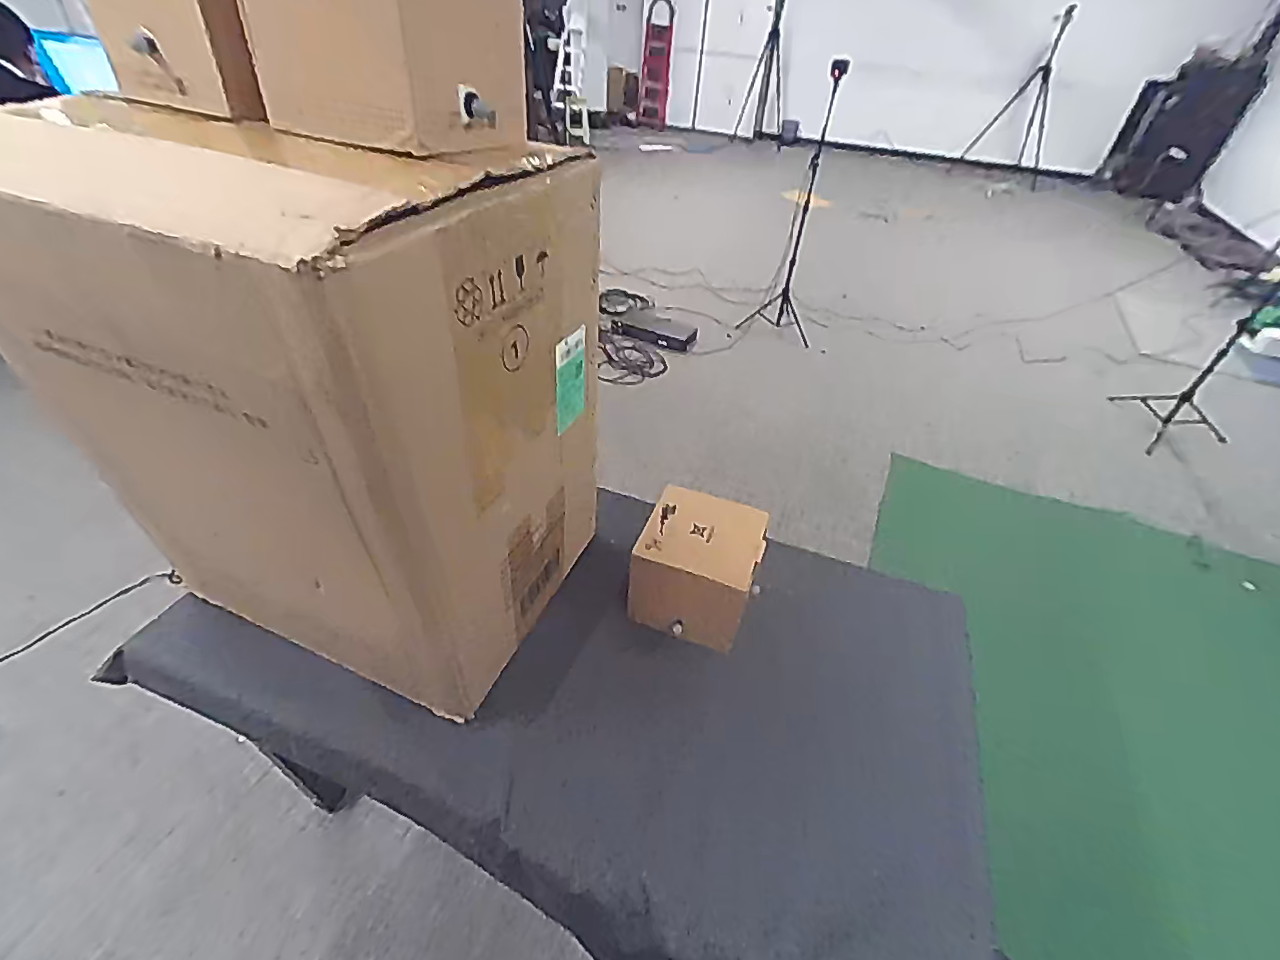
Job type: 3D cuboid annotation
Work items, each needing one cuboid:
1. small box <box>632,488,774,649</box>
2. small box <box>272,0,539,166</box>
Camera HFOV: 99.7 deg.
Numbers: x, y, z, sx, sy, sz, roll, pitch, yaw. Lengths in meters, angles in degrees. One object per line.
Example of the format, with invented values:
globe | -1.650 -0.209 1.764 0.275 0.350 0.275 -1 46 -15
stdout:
small box | 0.098 0.146 0.875 0.179 0.176 0.168 18 43 14
small box | -0.211 -0.402 0.502 0.179 0.176 0.168 19 40 14
